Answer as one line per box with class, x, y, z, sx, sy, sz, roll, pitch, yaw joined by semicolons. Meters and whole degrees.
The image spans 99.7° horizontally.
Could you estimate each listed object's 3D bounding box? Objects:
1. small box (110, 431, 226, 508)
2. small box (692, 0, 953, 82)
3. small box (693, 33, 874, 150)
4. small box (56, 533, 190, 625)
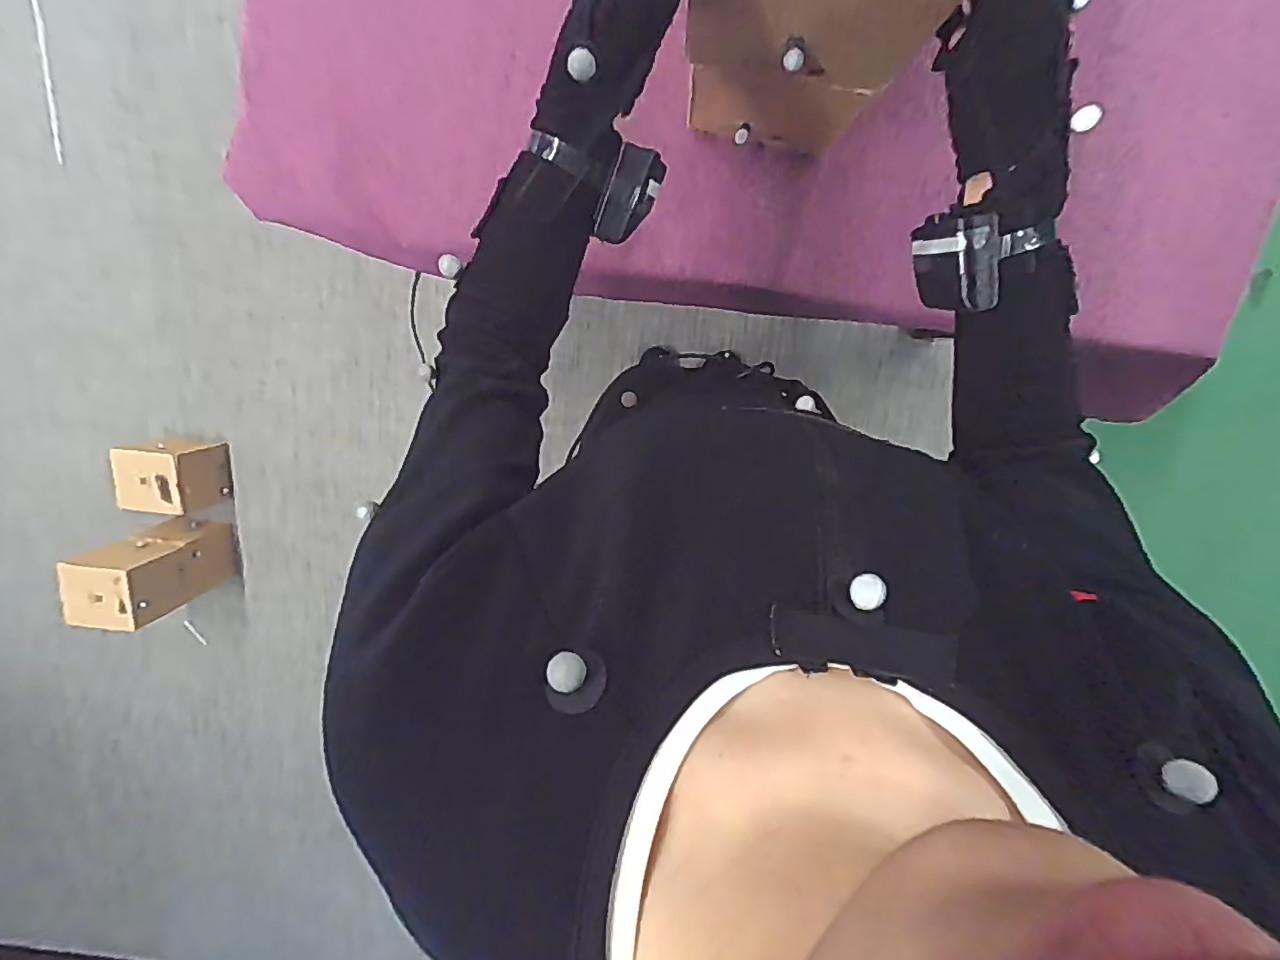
small box;-1.266;-0.033;1.469;0.179;0.176;0.168;6;104;2
small box;0.128;-0.397;0.339;0.168;0.176;0.179;10;106;0
small box;0.149;-0.464;0.535;0.168;0.176;0.179;13;105;1
small box;-1.304;0.243;1.375;0.179;0.176;0.168;7;105;2
